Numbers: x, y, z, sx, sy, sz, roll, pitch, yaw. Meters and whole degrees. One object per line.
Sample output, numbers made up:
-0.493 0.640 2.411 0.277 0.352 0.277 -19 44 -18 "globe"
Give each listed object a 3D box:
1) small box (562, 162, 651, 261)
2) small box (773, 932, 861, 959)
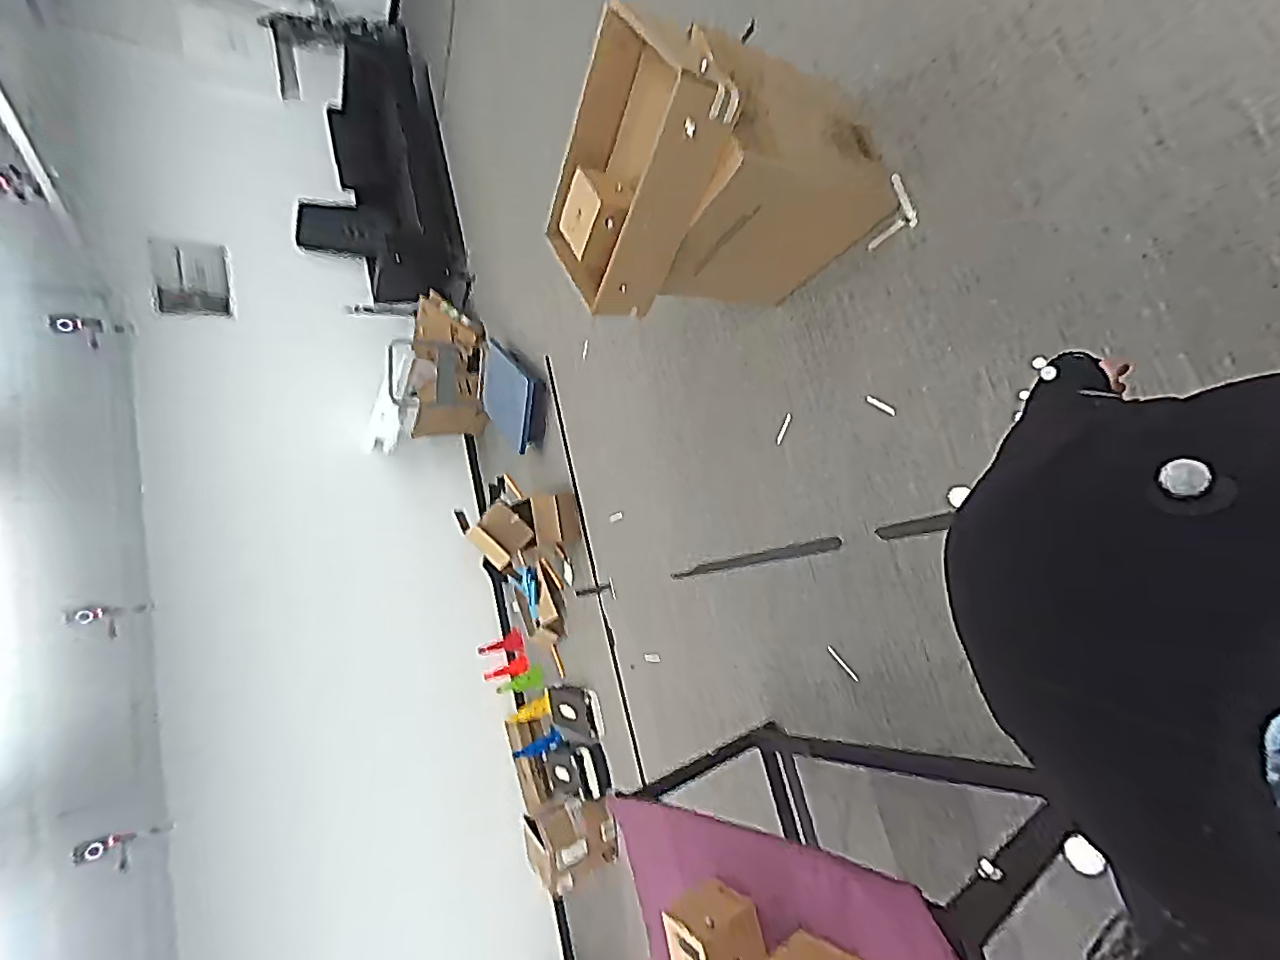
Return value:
-0.089 -0.727 1.480 0.168 0.176 0.179 63 143 25 "small box"
0.347 1.023 1.037 0.179 0.176 0.168 -34 68 55 "small box"
